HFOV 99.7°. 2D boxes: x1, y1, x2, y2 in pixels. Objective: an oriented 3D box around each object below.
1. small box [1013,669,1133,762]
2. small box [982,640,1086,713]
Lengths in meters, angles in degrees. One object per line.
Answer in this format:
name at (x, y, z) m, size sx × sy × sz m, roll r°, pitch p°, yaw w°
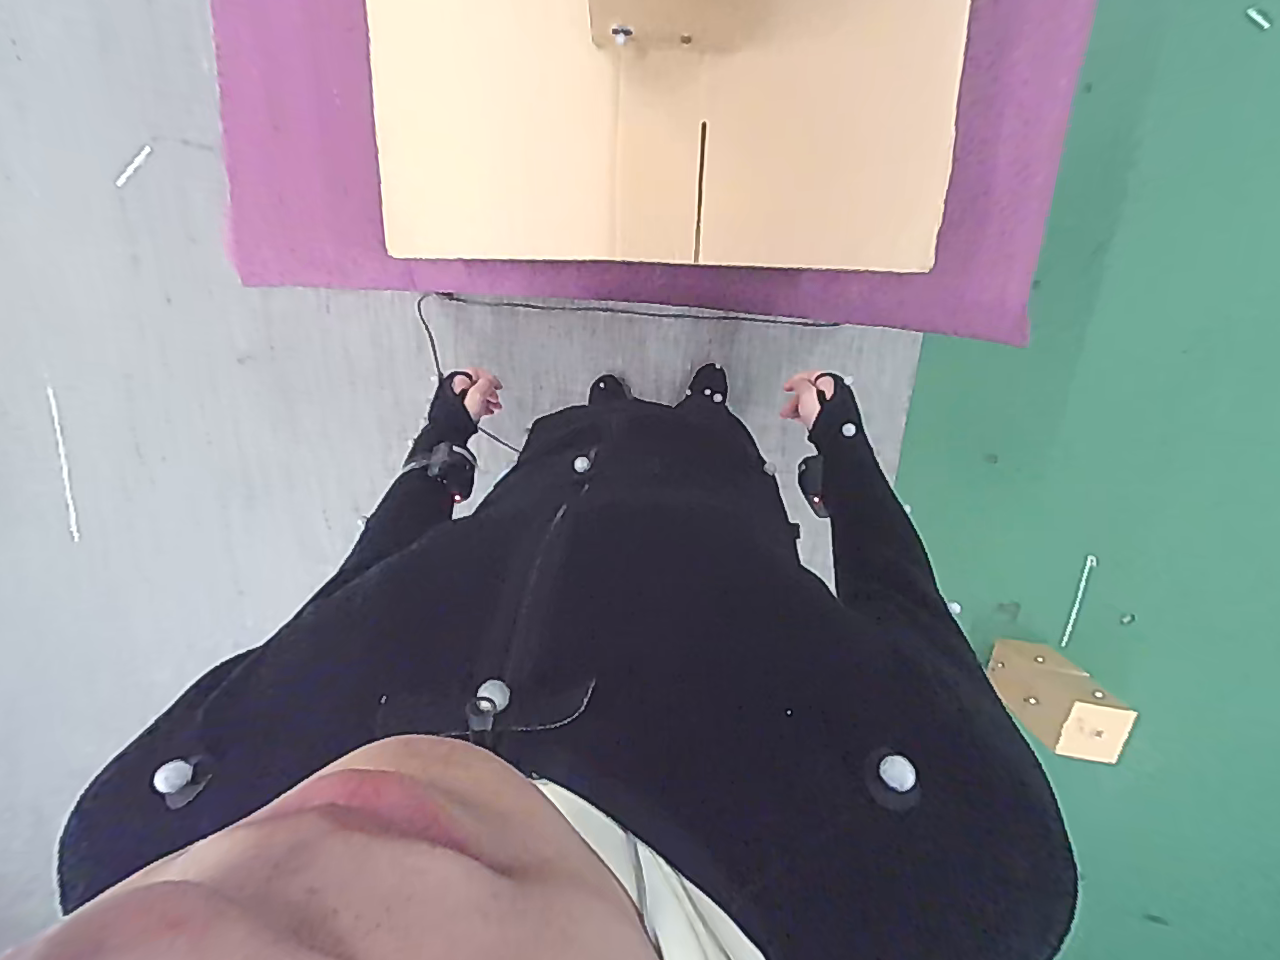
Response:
small box at (1.219, 0.662, 1.534) m, size 0.179 × 0.176 × 0.168 m, roll 10°, pitch 103°, yaw -1°
small box at (1.225, 0.622, 1.694) m, size 0.179 × 0.176 × 0.168 m, roll 8°, pitch 103°, yaw -1°
